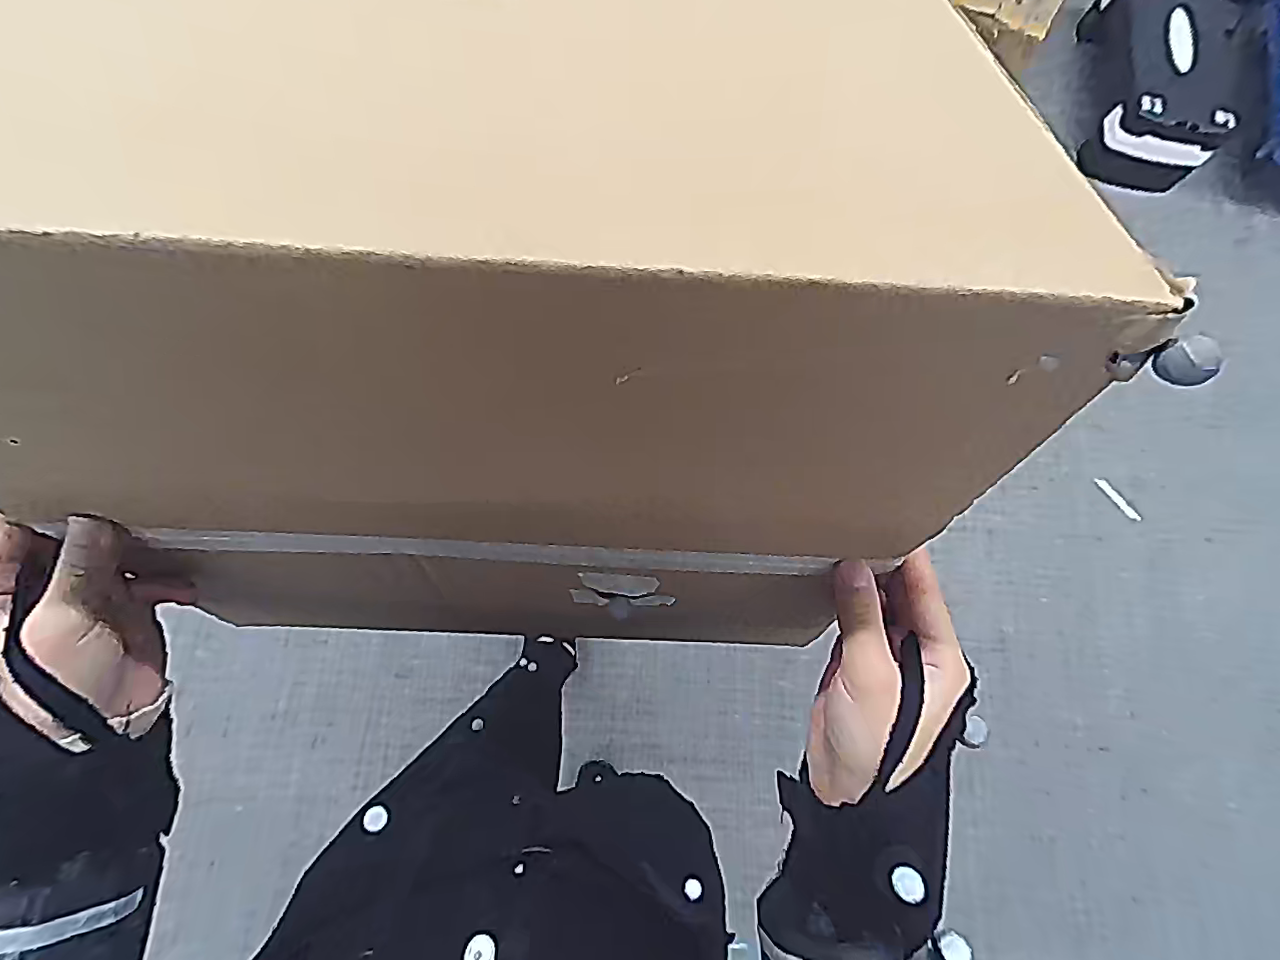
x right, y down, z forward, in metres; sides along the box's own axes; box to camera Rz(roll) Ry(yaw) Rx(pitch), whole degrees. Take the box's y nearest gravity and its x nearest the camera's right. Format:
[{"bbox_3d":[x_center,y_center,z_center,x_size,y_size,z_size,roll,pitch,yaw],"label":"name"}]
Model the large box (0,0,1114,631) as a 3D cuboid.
[{"bbox_3d":[-0.074,-0.103,0.345,0.408,0.320,0.320,2,59,-2],"label":"large box"}]
